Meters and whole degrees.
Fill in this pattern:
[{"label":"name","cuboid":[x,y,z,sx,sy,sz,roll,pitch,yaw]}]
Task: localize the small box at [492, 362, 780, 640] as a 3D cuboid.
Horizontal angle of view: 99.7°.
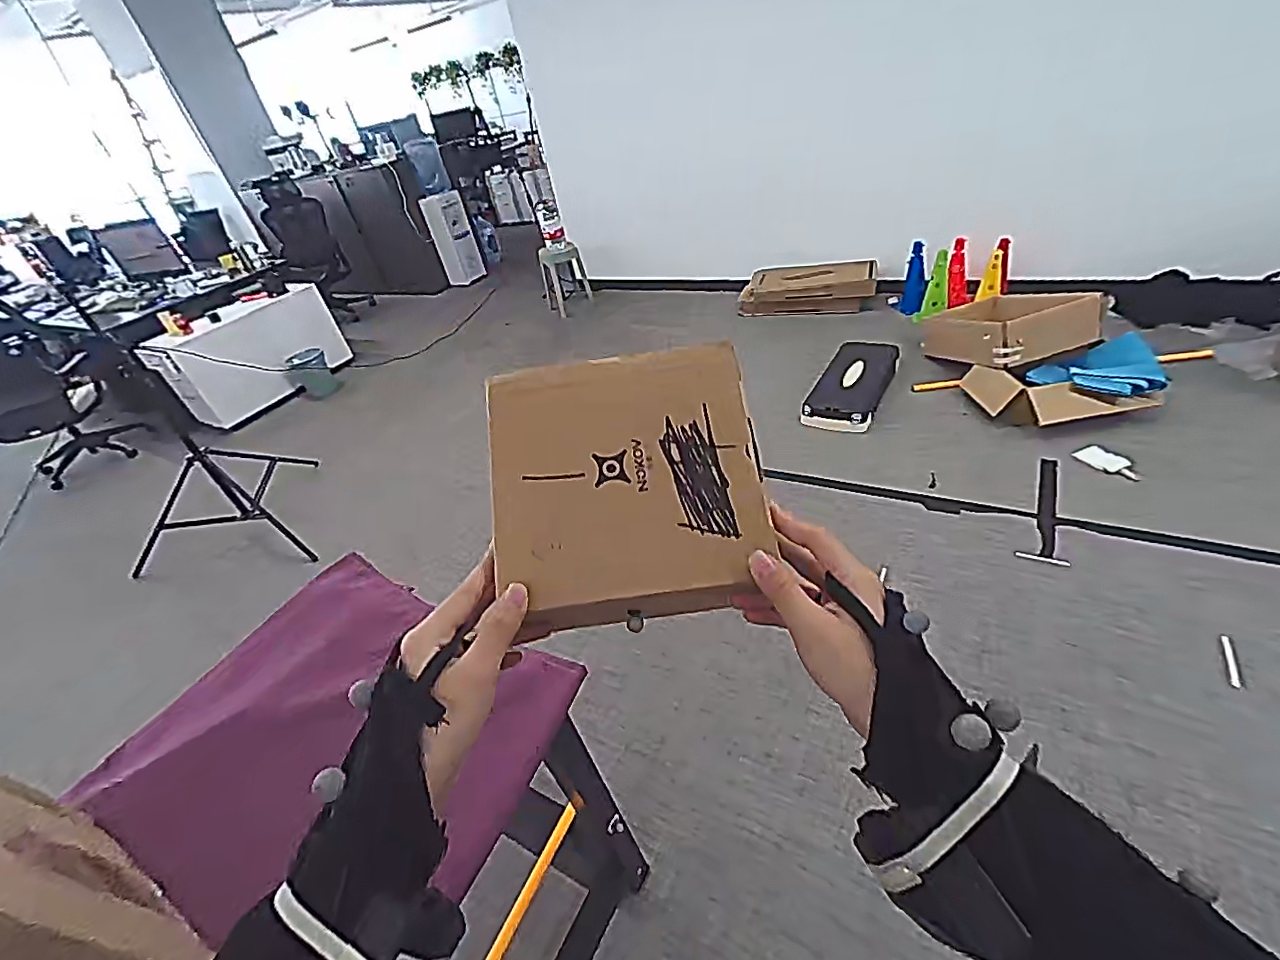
[{"label":"small box","cuboid":[-0.006,0.029,0.432,0.179,0.176,0.168,-8,70,0]}]
